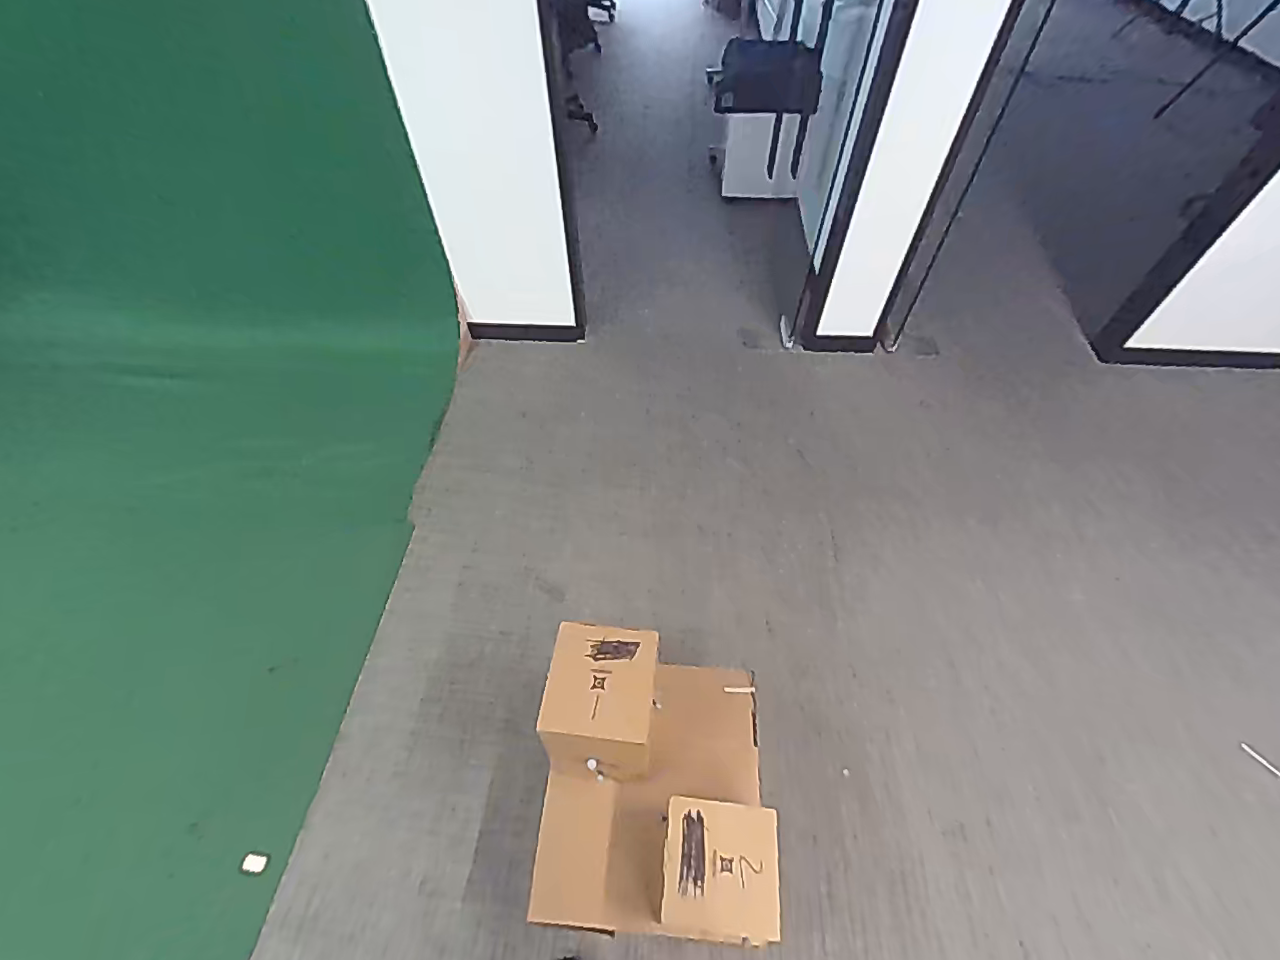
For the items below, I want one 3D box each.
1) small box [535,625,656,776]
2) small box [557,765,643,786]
[{"bbox_3d":[-0.064,0.365,0.895,0.168,0.176,0.179,5,49,5],"label":"small box"},{"bbox_3d":[-0.070,0.461,1.031,0.168,0.176,0.179,3,49,3],"label":"small box"}]
